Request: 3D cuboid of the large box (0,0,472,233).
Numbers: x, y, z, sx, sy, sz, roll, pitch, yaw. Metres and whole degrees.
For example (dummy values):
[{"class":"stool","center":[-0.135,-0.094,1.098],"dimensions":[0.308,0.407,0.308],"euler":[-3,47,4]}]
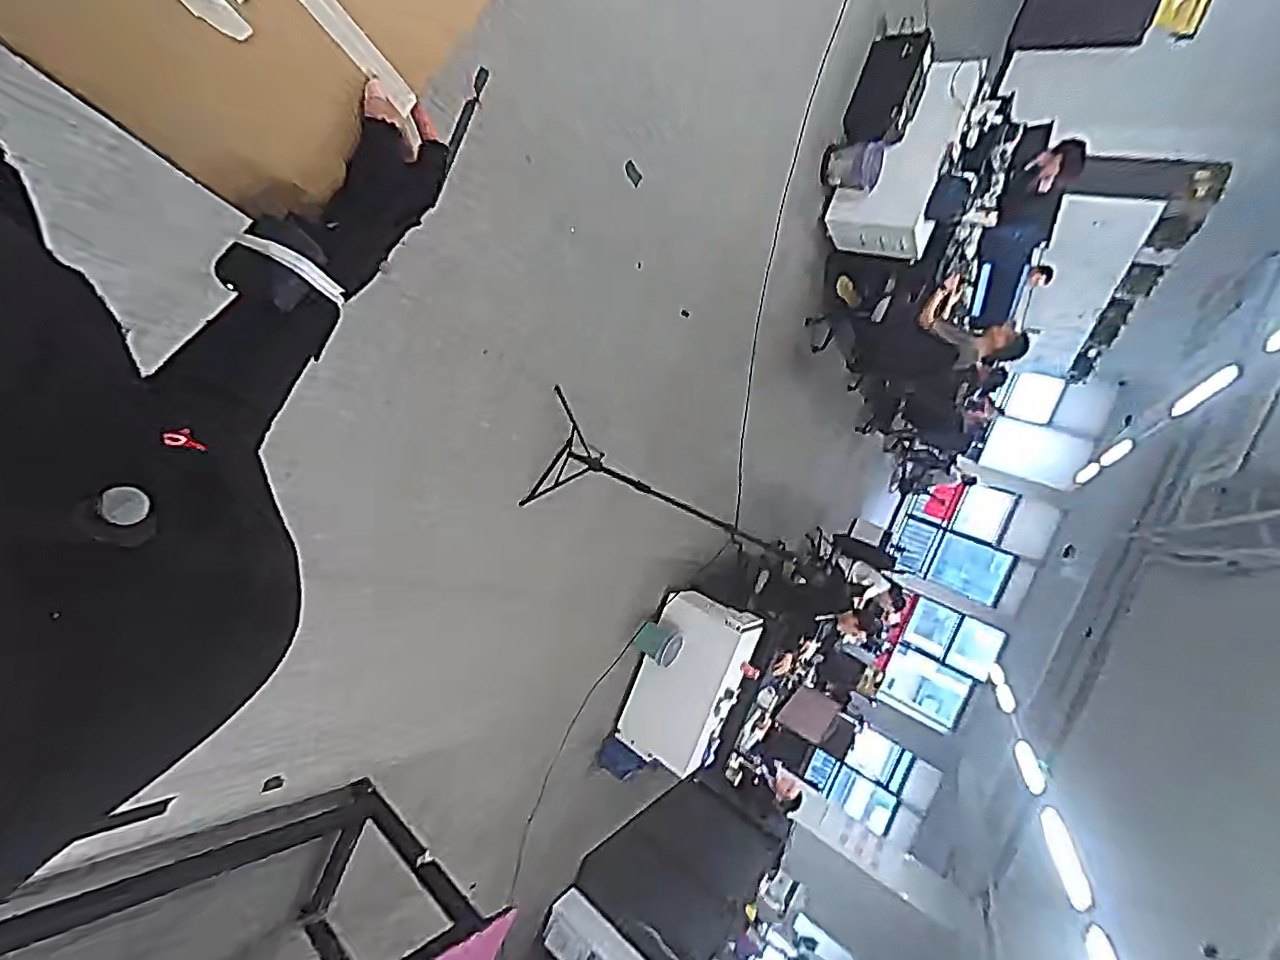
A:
[{"class":"large box","center":[-0.400,-0.469,0.383],"dimensions":[0.320,0.320,0.408],"euler":[-54,150,-1]}]
